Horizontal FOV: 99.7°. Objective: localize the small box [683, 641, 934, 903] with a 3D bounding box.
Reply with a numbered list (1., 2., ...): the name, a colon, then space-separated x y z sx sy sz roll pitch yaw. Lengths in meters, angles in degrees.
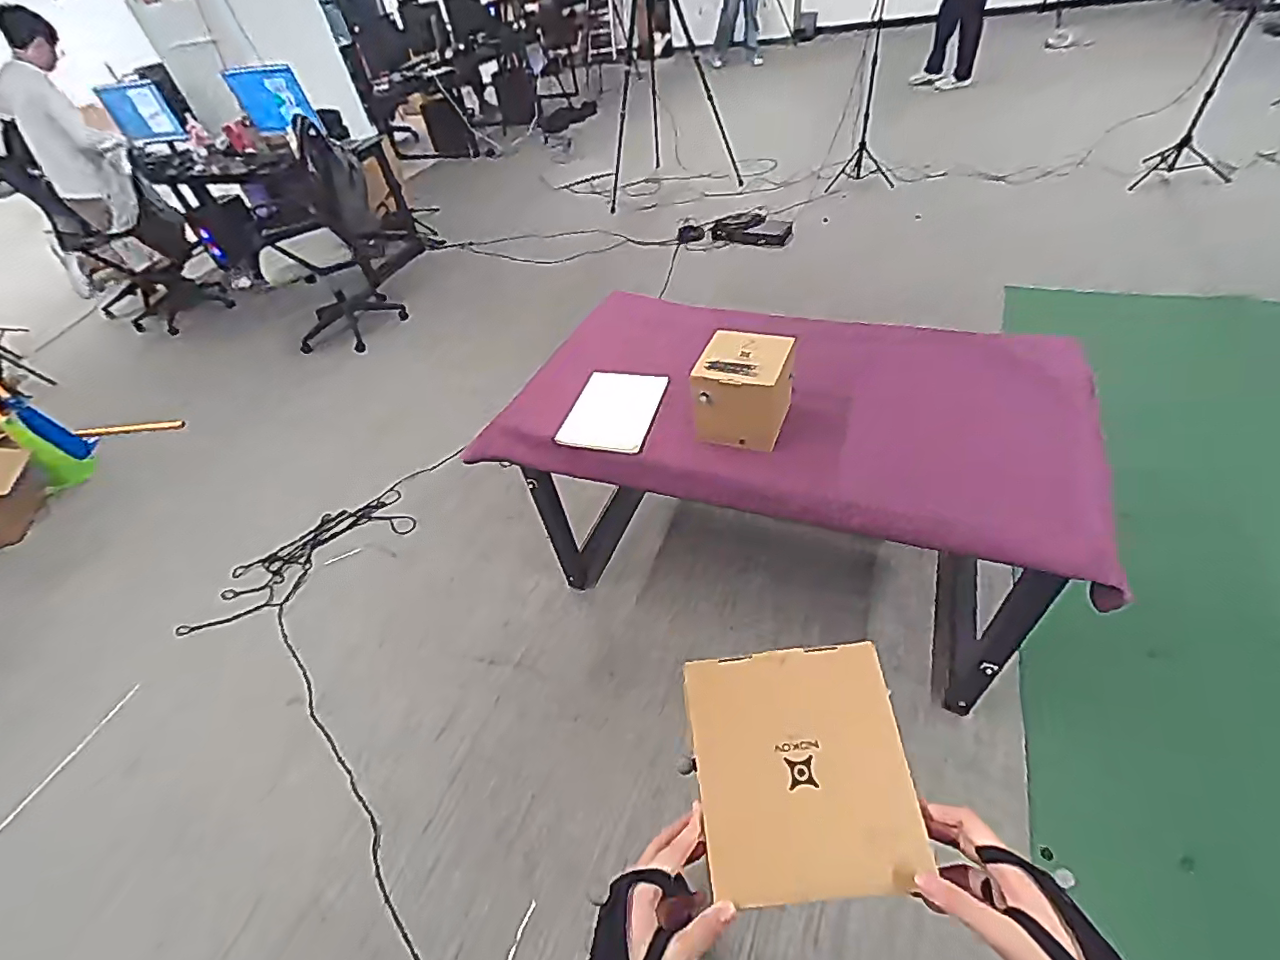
1. small box: 0.134 0.259 0.501 0.168 0.176 0.179 -7 63 2
